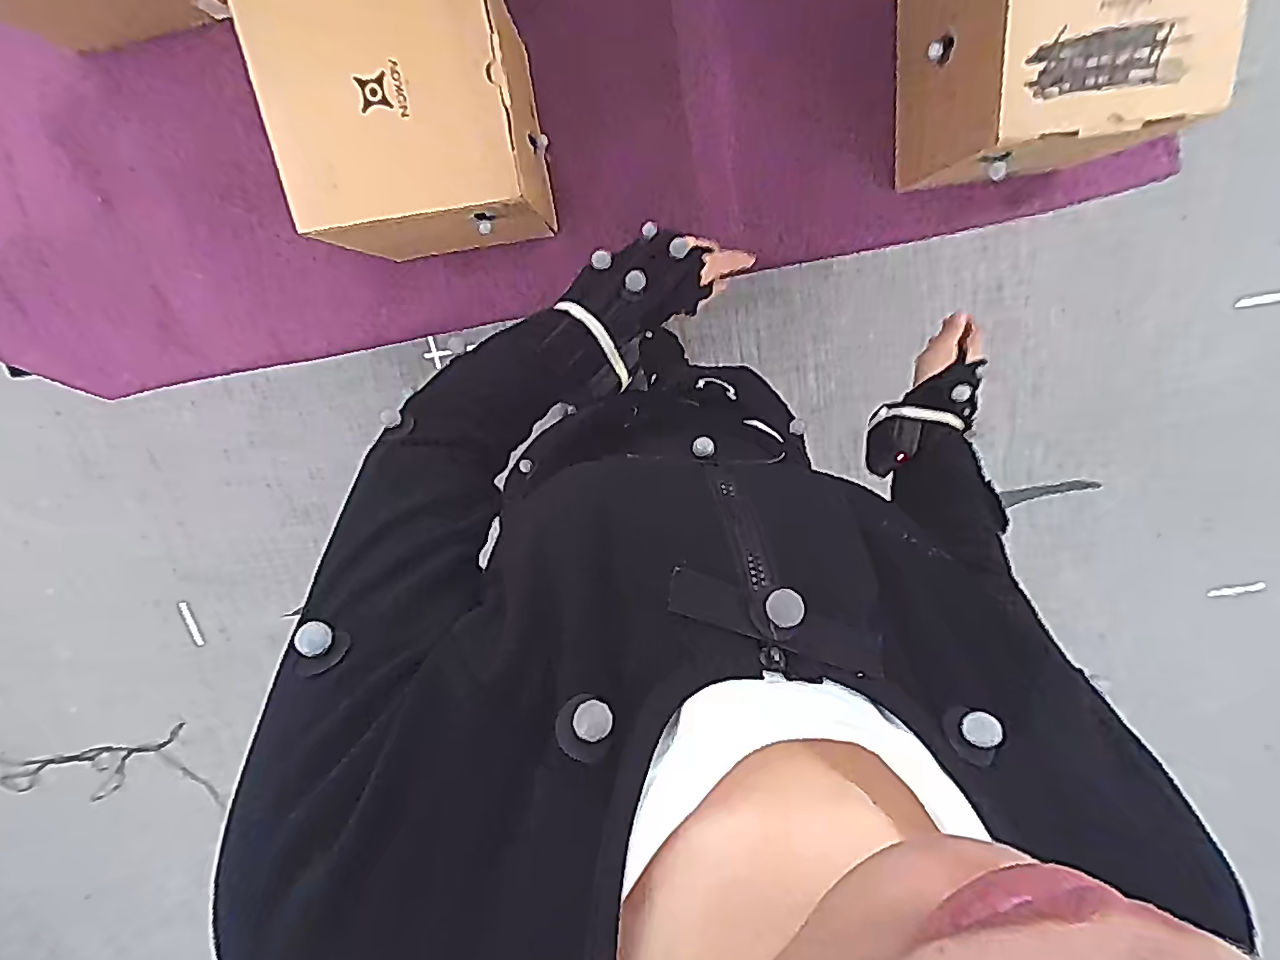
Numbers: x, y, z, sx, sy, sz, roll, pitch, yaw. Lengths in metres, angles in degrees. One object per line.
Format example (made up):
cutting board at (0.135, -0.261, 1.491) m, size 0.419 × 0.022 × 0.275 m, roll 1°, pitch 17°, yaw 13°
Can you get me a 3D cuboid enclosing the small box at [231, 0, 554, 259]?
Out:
small box at (-0.184, -0.296, 0.461) m, size 0.179 × 0.176 × 0.168 m, roll -9°, pitch 105°, yaw 2°
